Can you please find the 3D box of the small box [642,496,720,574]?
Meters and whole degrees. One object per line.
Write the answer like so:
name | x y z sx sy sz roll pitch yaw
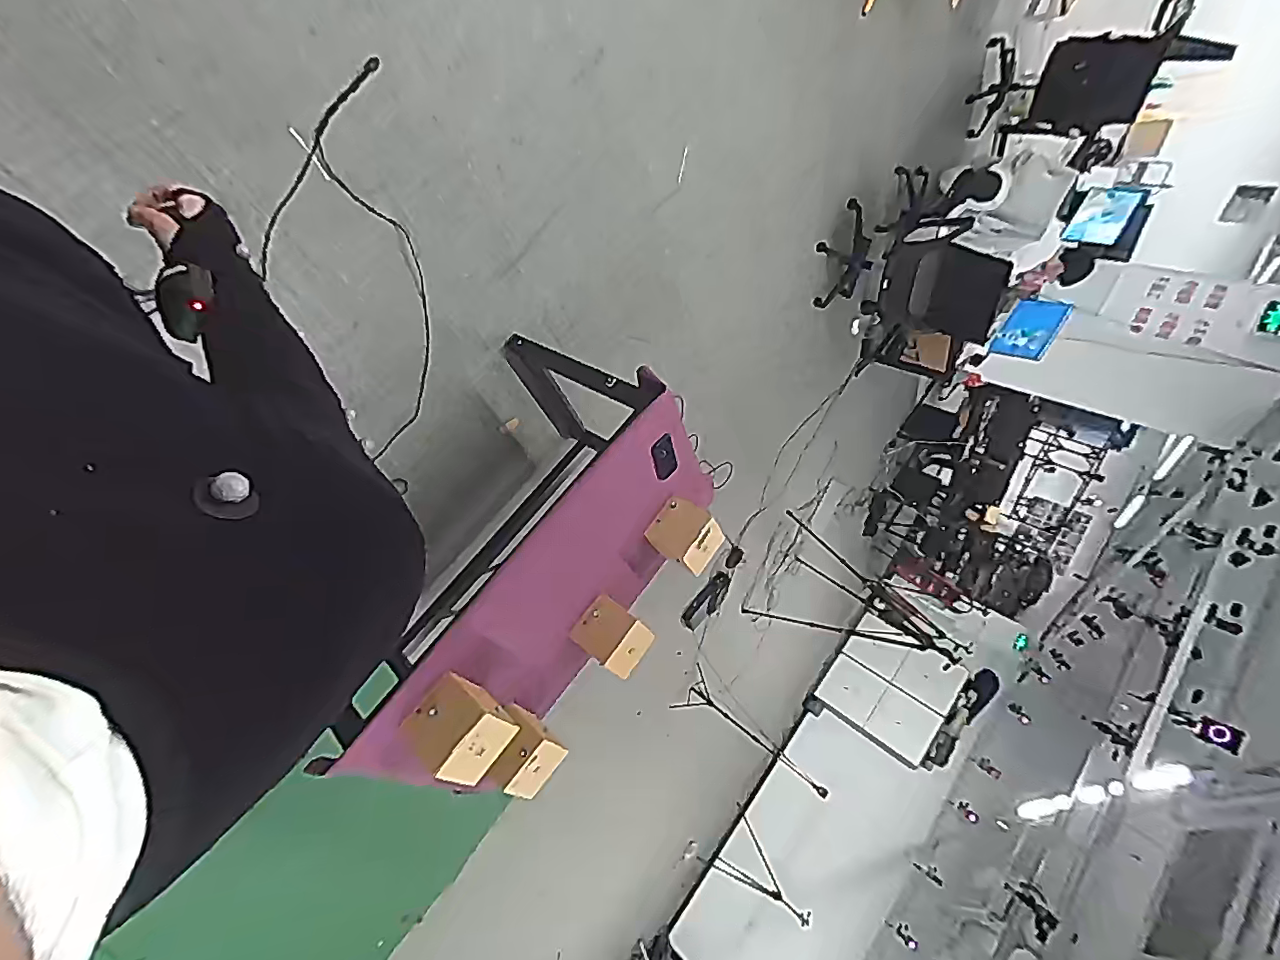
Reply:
small box | 0.132 0.173 1.759 0.168 0.176 0.179 -52 146 -12

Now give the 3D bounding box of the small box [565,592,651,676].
small box | -0.099 0.475 1.681 0.168 0.176 0.179 -51 145 -15

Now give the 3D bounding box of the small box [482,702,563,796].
small box | -0.358 0.768 1.553 0.168 0.176 0.179 -50 145 -18

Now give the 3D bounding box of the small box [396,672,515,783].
small box | -0.443 0.592 1.303 0.168 0.176 0.179 -50 145 -18
